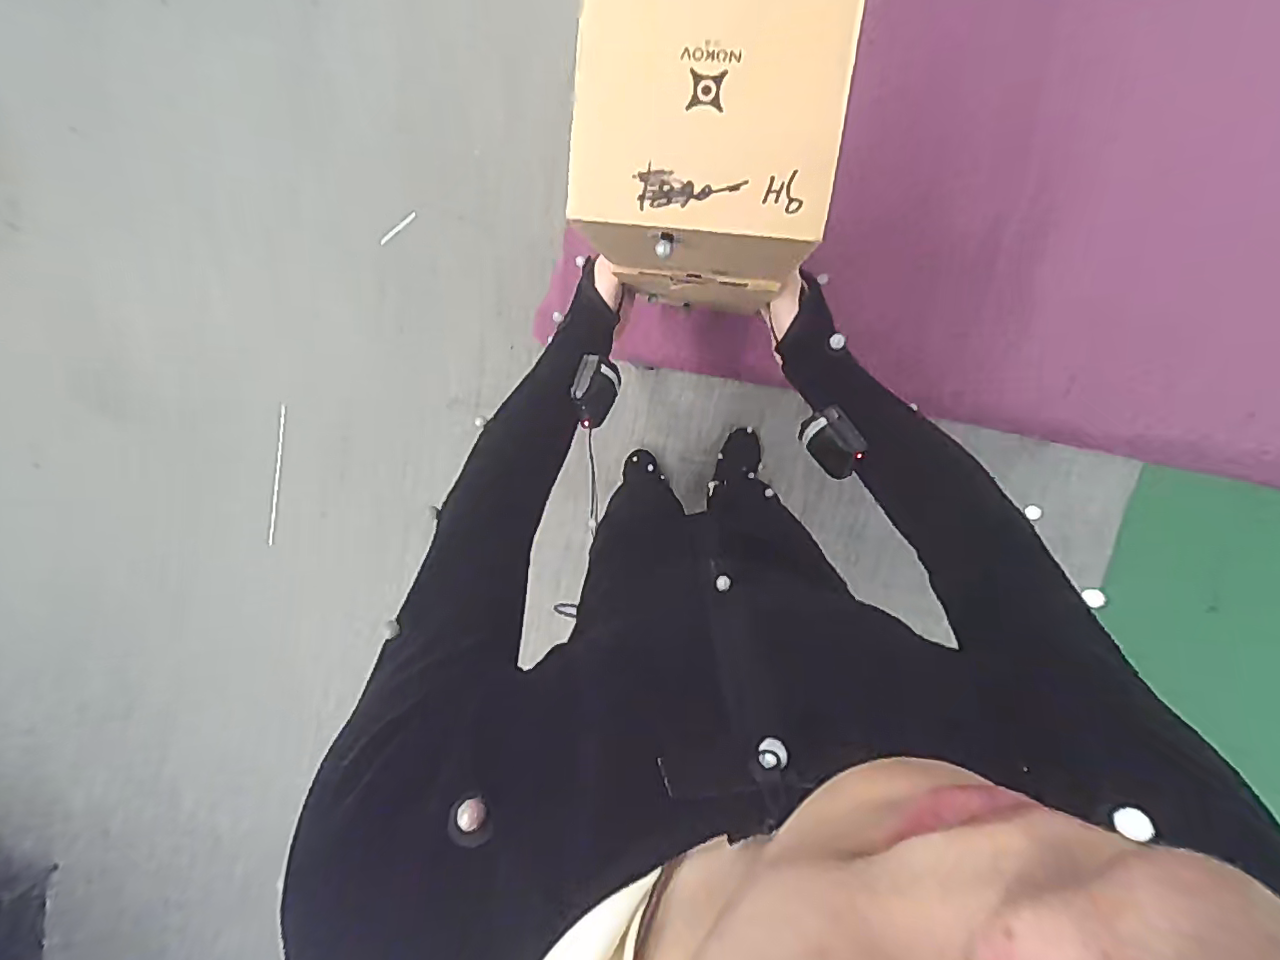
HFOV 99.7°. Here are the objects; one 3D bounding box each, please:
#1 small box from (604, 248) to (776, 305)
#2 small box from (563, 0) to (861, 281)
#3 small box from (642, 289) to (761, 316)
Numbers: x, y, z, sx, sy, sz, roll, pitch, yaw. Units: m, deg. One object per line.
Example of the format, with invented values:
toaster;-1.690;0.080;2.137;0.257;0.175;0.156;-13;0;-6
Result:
small box;0.067;-0.287;0.563;0.168;0.176;0.179;9;102;5
small box;0.049;-0.260;0.402;0.168;0.176;0.179;8;102;6
small box;0.088;-0.325;0.721;0.168;0.176;0.179;10;103;5
